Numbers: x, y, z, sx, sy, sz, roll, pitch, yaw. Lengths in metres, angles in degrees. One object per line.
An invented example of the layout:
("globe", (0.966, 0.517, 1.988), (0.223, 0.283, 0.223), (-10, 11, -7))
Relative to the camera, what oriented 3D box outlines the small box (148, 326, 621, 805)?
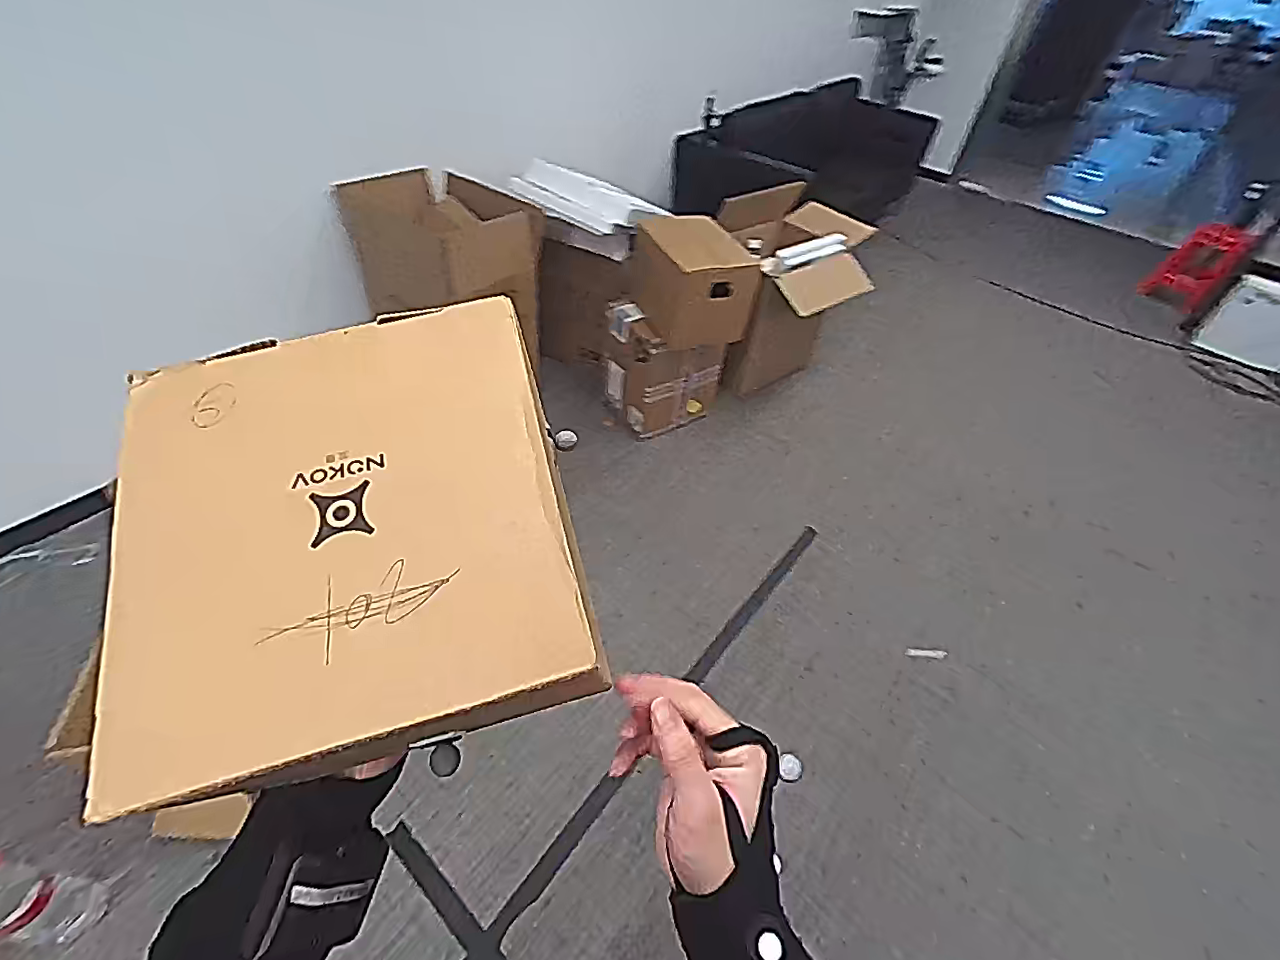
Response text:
("small box", (-0.110, 0.050, 0.298), (0.168, 0.176, 0.179), (-15, 67, -6))
